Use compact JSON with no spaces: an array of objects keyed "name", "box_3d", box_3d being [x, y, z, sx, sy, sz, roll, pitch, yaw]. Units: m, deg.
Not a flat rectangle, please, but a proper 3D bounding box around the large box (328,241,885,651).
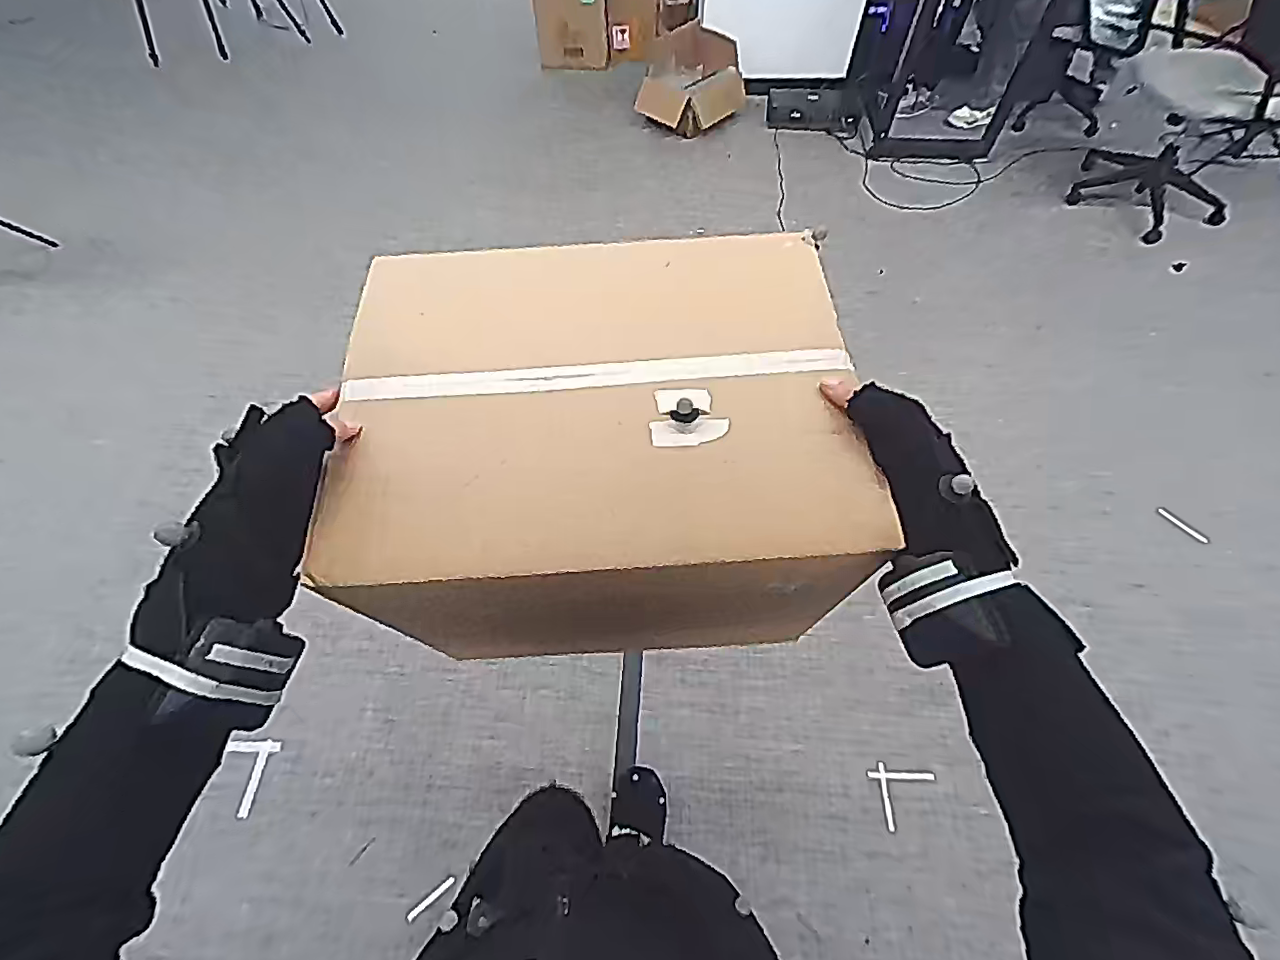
[{"name":"large box","box_3d":[-0.030,-0.013,0.579,0.408,0.320,0.320,-3,63,0]}]
